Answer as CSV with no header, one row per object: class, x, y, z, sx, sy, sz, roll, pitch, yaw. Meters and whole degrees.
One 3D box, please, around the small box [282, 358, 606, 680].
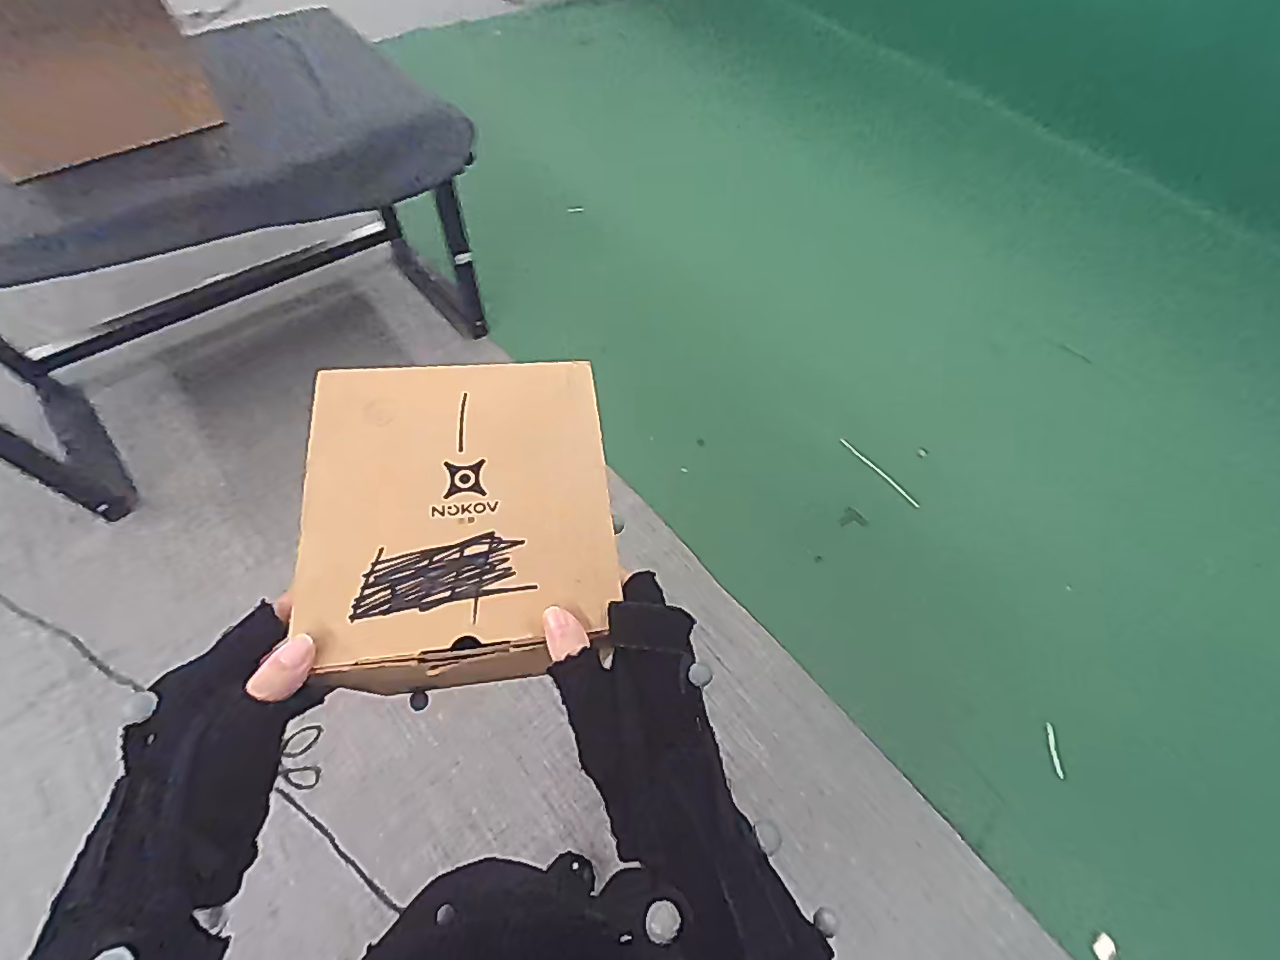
small box,-0.117,0.038,0.381,0.168,0.176,0.179,-5,65,-11
